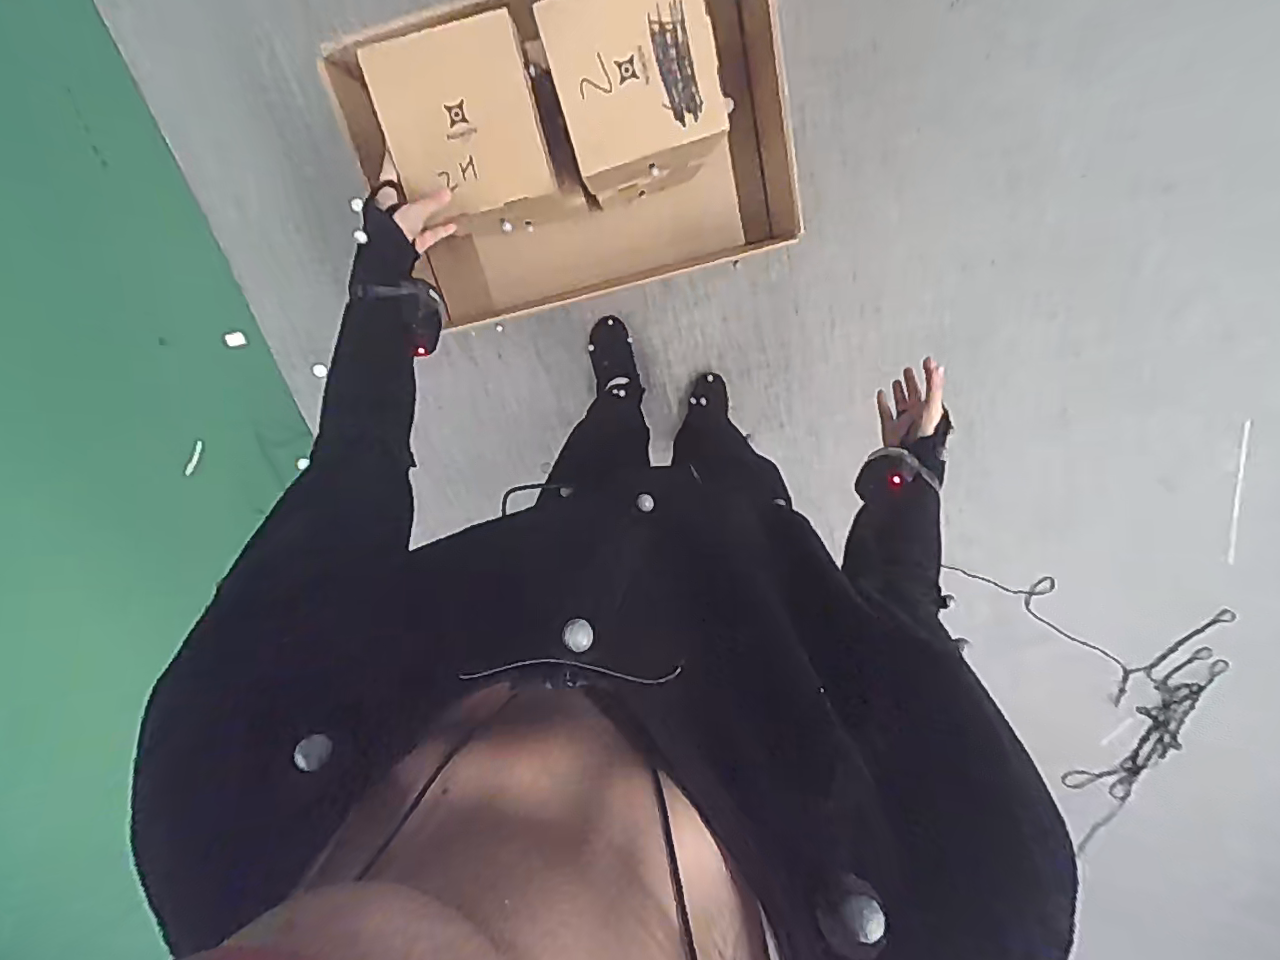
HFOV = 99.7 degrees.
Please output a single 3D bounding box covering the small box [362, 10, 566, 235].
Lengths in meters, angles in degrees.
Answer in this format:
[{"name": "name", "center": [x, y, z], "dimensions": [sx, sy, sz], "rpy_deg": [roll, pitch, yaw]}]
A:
[{"name": "small box", "center": [-0.197, -0.416, 0.662], "dimensions": [0.168, 0.176, 0.179], "rpy_deg": [-12, 111, 4]}]
